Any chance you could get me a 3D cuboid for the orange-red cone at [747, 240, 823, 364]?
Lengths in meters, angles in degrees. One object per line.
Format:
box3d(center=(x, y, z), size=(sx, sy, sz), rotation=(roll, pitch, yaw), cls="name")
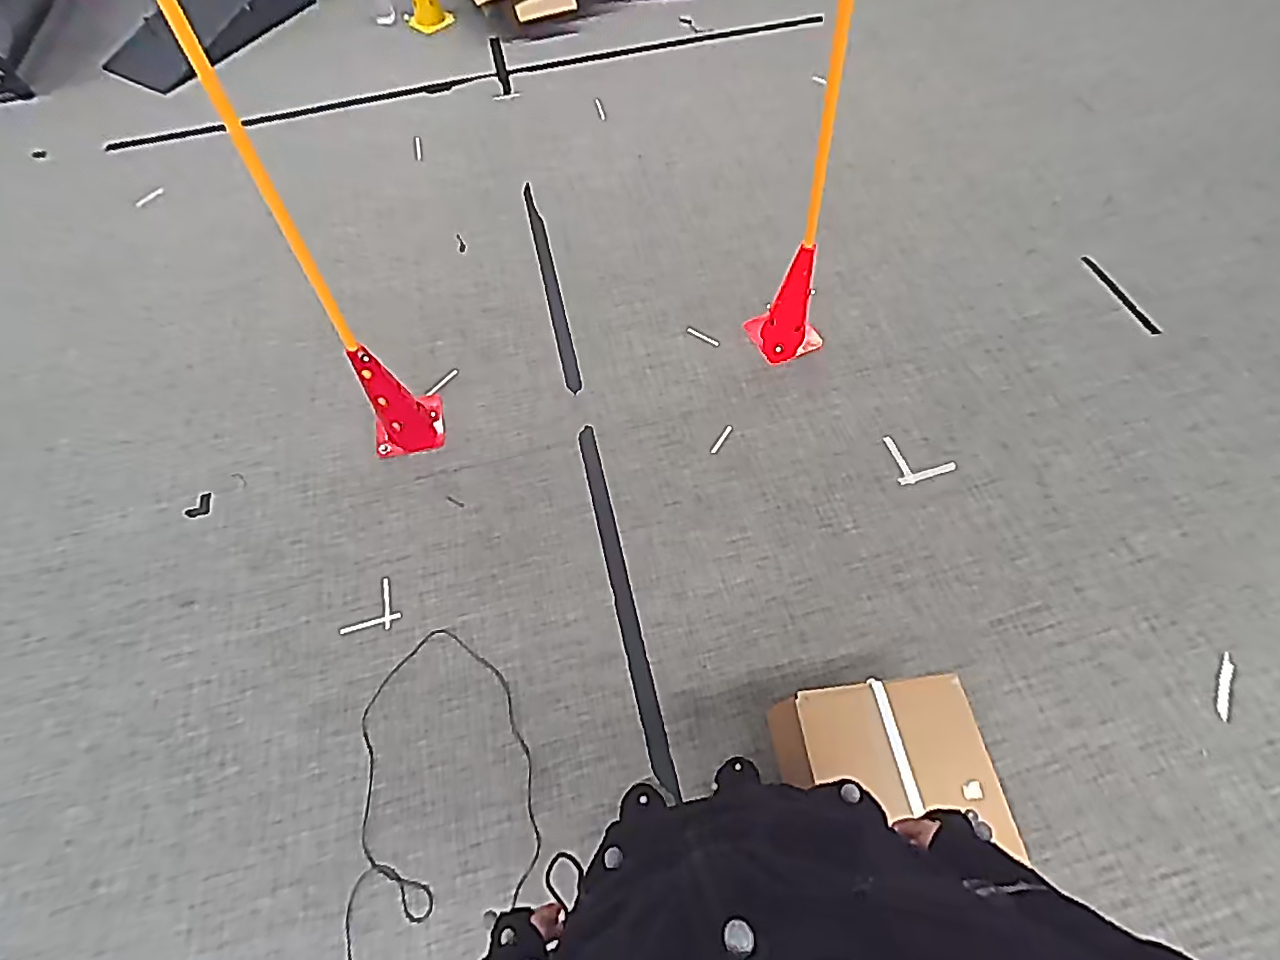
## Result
box3d(center=(0.465, -0.549, 1.598), size=(0.199, 0.360, 0.198), rotation=(-21, 65, -10), cls="orange-red cone")
